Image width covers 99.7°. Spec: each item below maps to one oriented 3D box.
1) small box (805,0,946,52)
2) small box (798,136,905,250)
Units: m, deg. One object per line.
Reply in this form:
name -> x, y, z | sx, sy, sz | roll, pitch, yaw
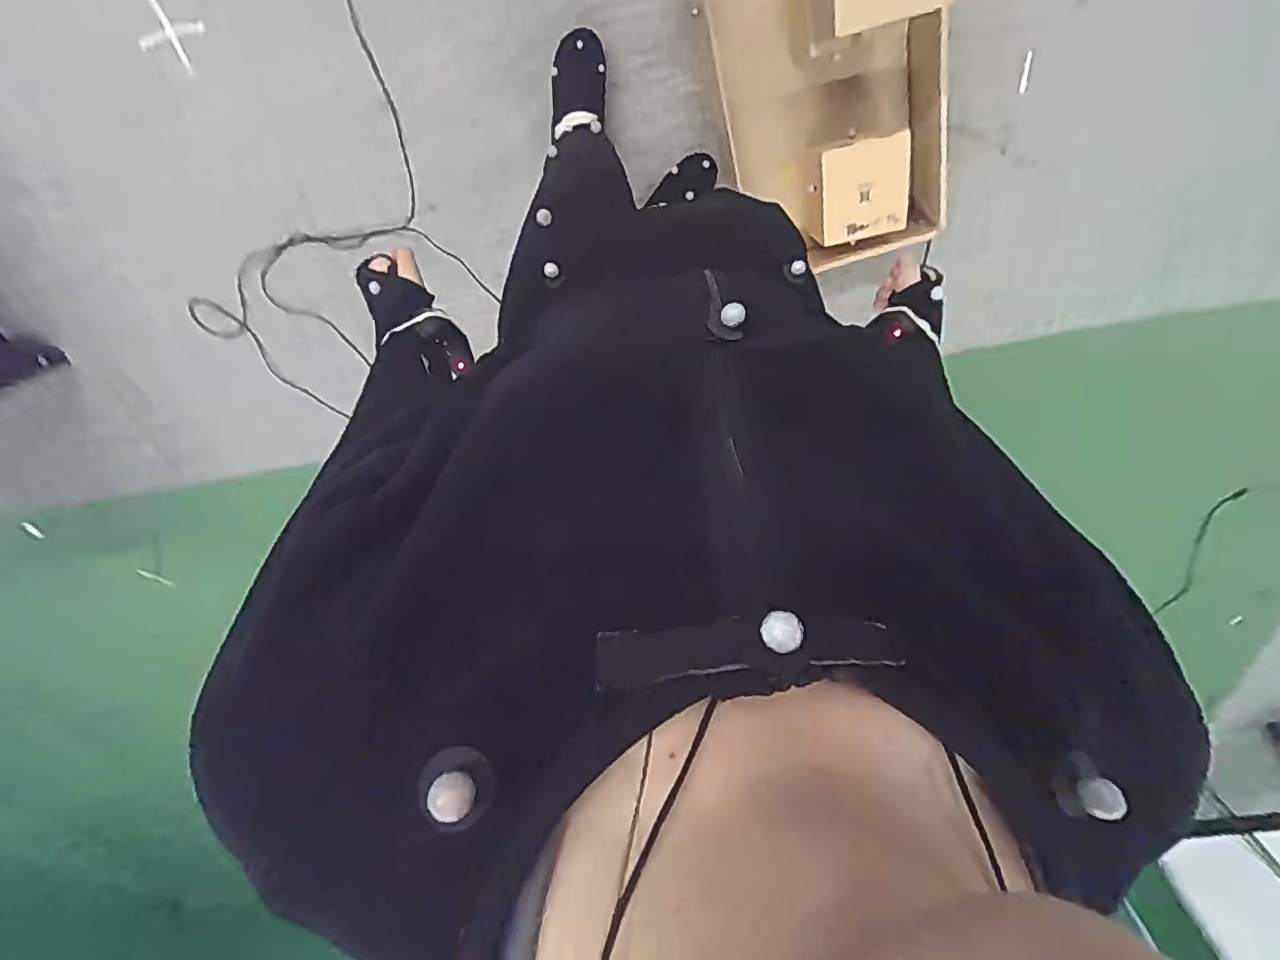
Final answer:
small box -> 0.346, -0.775, 0.810 | 0.168, 0.176, 0.179 | -9, 125, 9
small box -> 0.431, -0.598, 1.126 | 0.168, 0.176, 0.179 | -9, 123, 7
